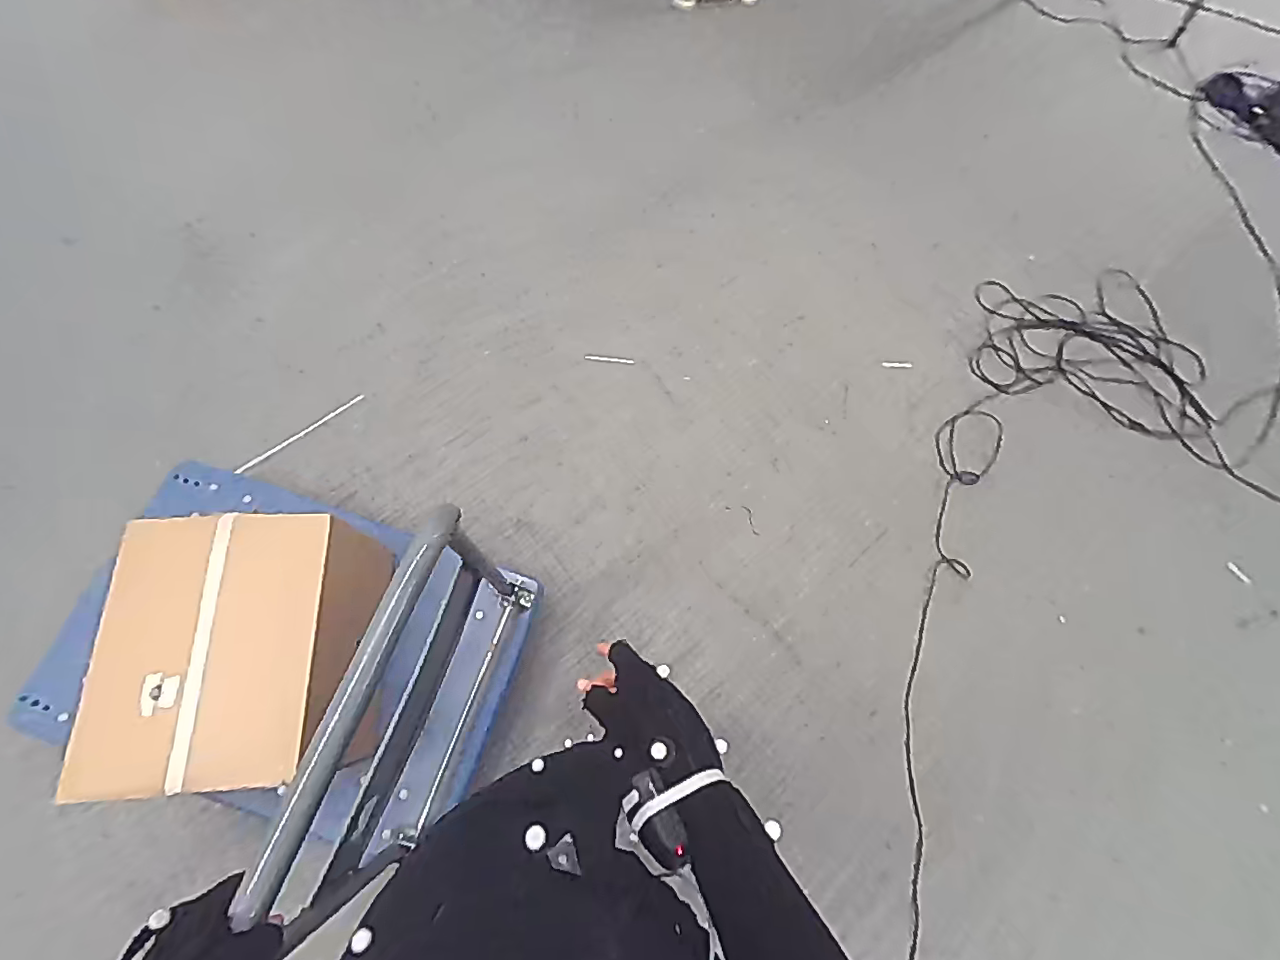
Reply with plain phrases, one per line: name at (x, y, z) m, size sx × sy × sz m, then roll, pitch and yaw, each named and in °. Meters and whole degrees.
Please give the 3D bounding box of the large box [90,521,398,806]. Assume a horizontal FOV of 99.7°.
large box at (-0.650, 0.311, 0.974) m, size 0.320 × 0.320 × 0.408 m, roll -3°, pitch 71°, yaw -5°
